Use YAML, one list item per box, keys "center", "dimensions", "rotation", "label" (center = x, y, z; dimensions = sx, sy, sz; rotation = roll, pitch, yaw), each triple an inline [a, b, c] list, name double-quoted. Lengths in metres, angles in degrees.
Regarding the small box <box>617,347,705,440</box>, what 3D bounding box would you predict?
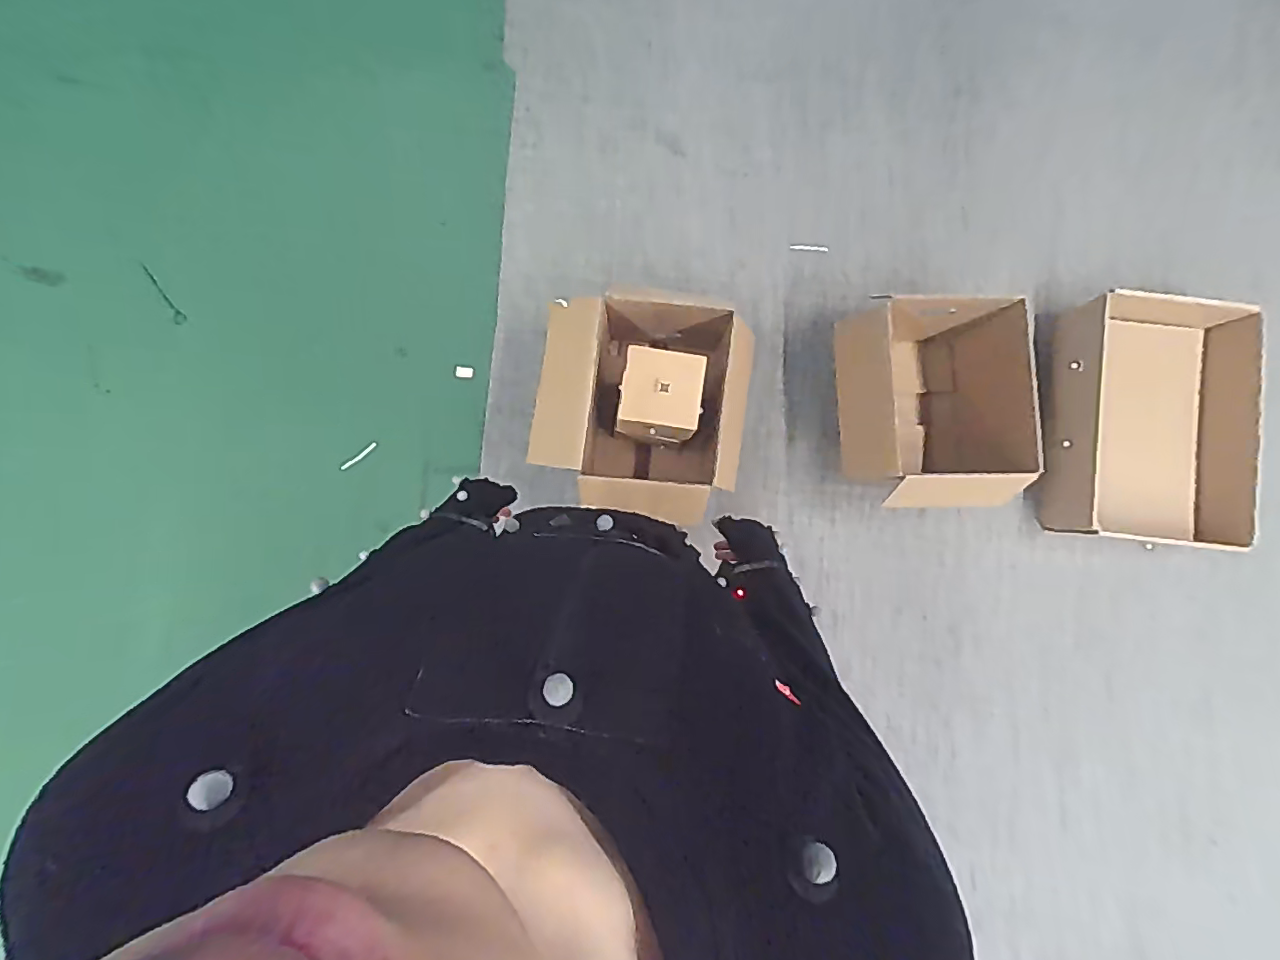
- center: [0.044, -0.192, 1.250]
  dimensions: [0.179, 0.176, 0.168]
  rotation: [8, 85, -1]
  label: "small box"
